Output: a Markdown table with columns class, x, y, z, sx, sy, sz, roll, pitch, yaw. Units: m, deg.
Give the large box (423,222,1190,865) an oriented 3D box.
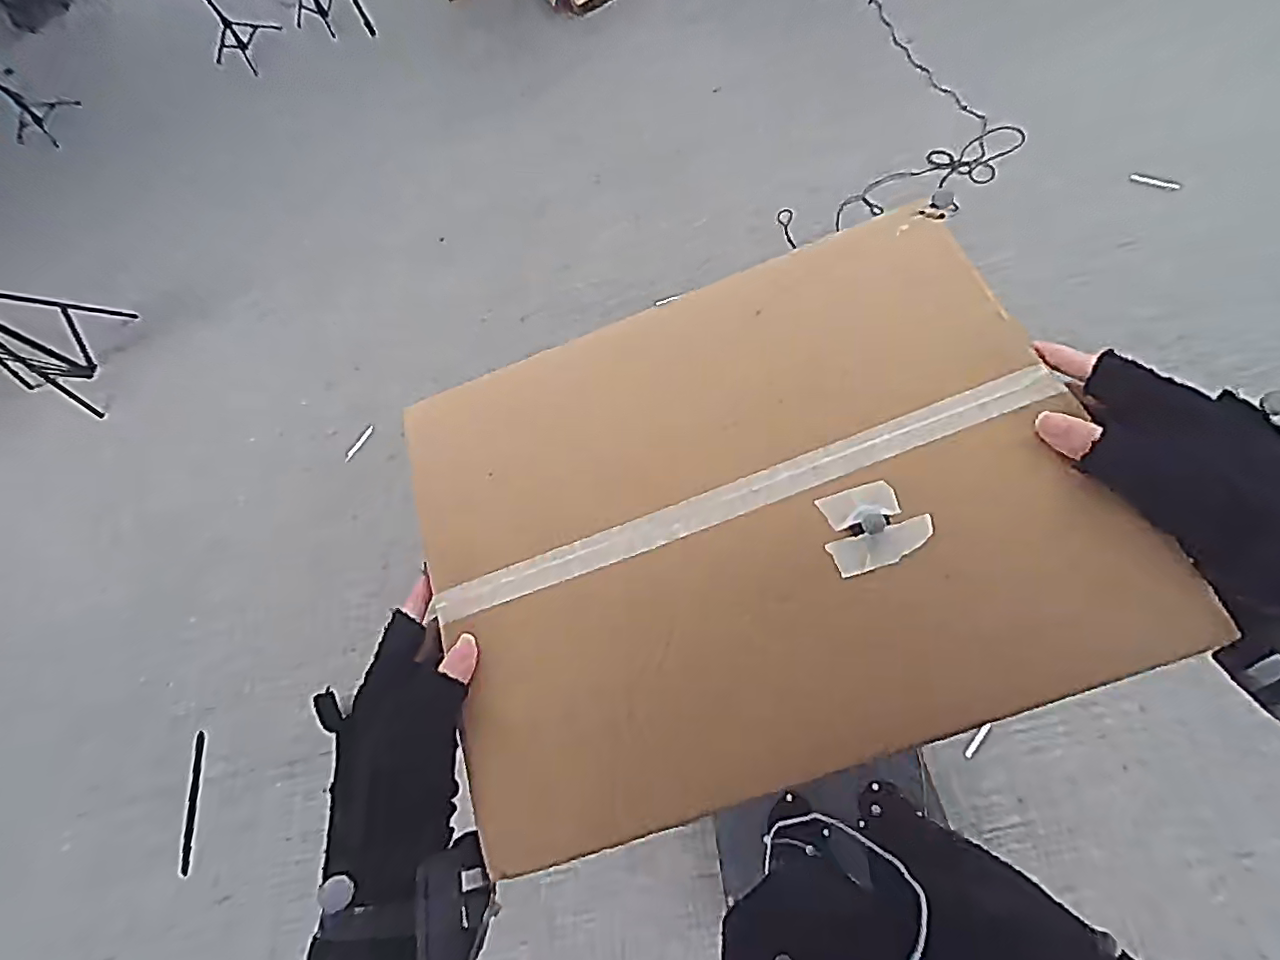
| class | x | y | z | sx | sy | sz | roll | pitch | yaw |
| --- | --- | --- | --- | --- | --- | --- | --- | --- | --- |
| large box | 0.089 | 0.064 | 0.488 | 0.408 | 0.320 | 0.320 | -21 | 70 | 3 |
